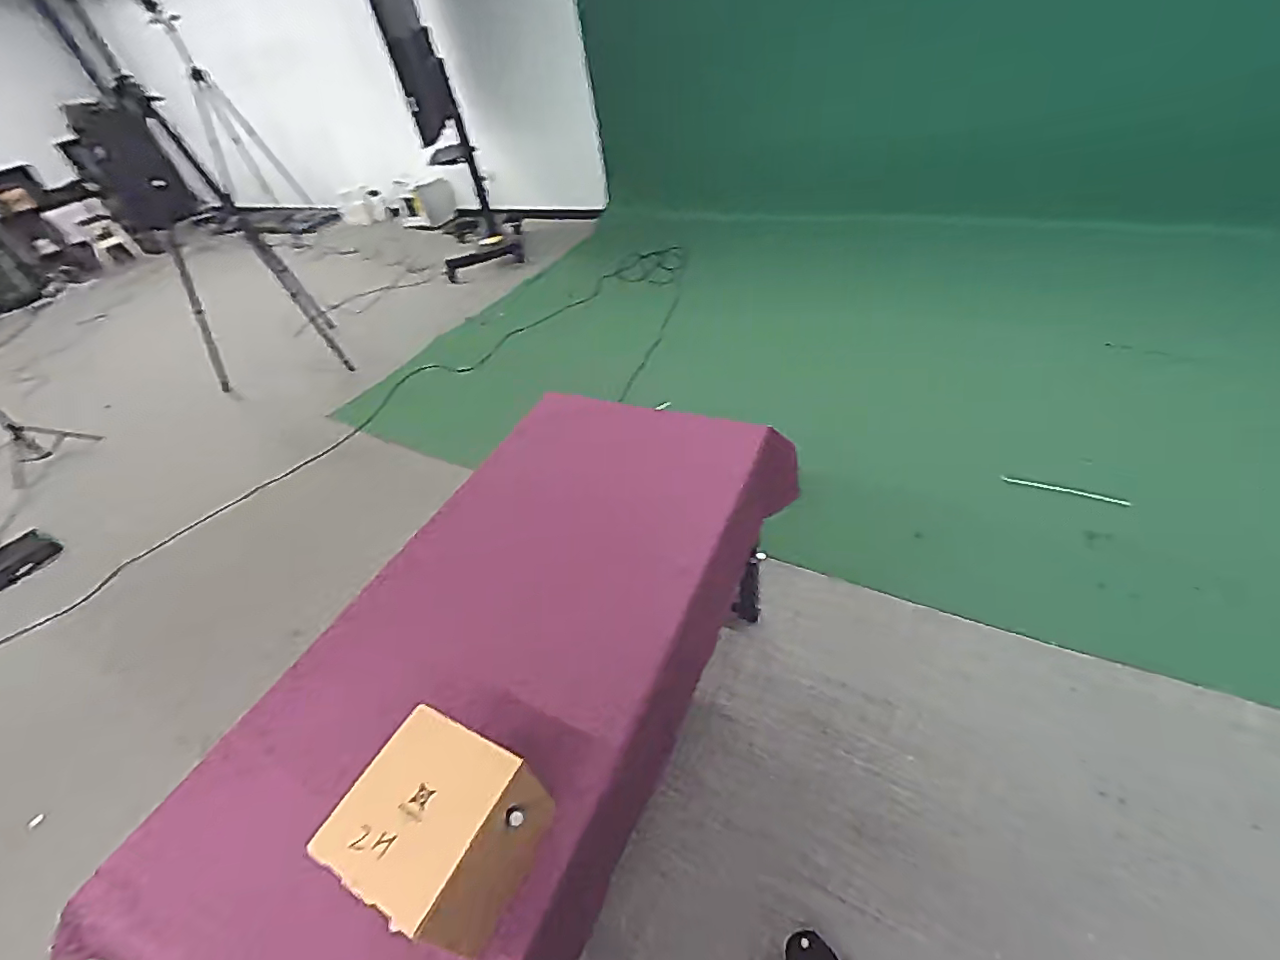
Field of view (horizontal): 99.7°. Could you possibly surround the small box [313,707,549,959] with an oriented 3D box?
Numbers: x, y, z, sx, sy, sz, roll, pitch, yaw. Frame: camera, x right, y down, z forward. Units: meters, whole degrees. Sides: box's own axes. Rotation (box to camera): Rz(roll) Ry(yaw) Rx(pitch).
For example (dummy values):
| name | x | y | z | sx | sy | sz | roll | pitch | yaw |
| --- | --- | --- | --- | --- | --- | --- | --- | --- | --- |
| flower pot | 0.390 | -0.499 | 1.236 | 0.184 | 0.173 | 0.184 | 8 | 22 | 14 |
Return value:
| name | x | y | z | sx | sy | sz | roll | pitch | yaw |
| --- | --- | --- | --- | --- | --- | --- | --- | --- | --- |
| small box | -0.227 | 0.414 | 0.642 | 0.168 | 0.176 | 0.179 | 13 | 47 | 27 |
